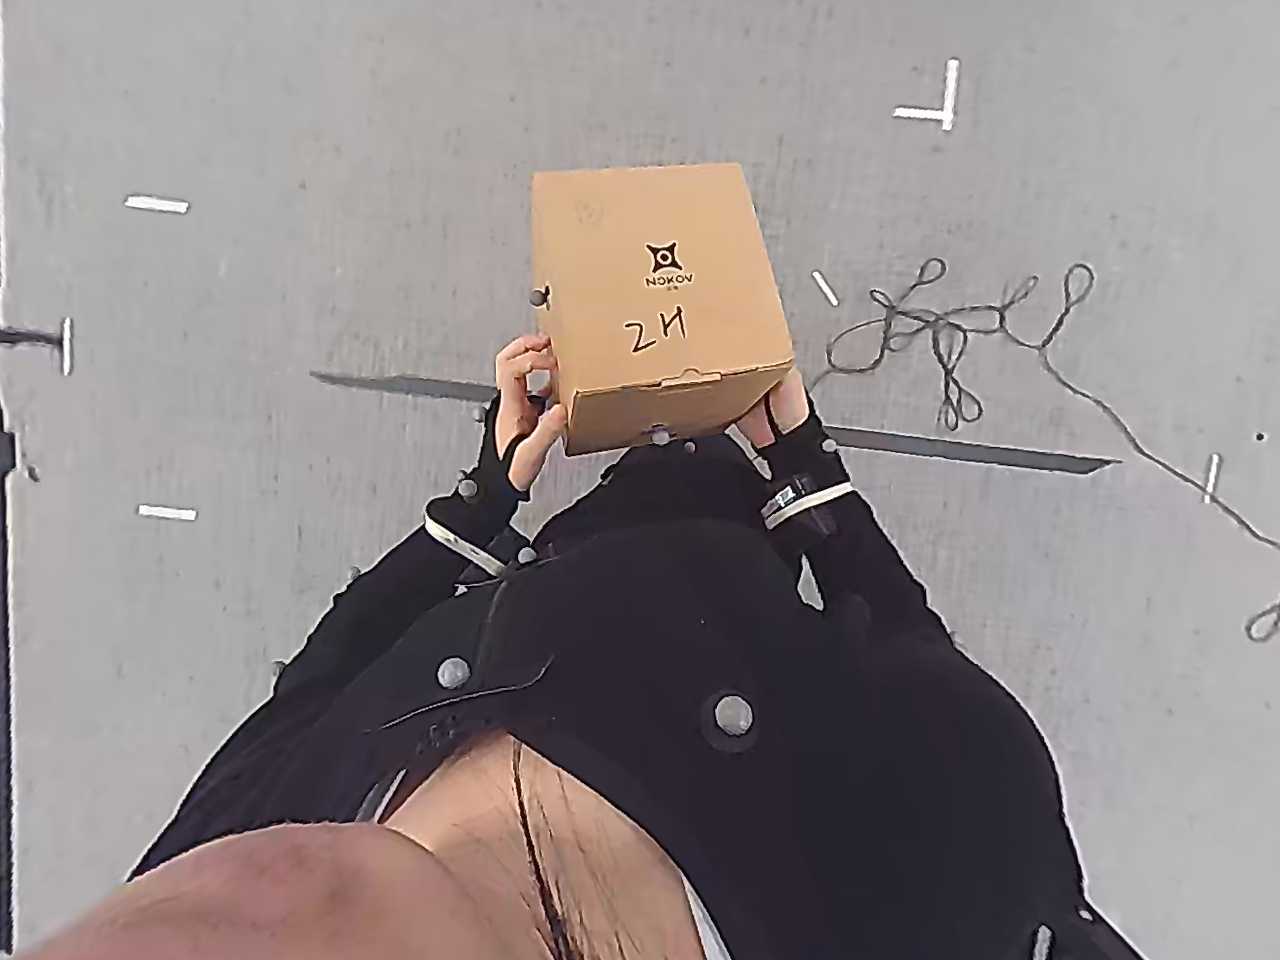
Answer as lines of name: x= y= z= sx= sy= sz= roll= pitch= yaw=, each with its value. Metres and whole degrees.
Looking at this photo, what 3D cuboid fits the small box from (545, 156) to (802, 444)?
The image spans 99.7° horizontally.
small box: x=0.011 y=-0.145 z=0.472 sx=0.168 sy=0.176 sz=0.179 roll=-9 pitch=80 yaw=-12
